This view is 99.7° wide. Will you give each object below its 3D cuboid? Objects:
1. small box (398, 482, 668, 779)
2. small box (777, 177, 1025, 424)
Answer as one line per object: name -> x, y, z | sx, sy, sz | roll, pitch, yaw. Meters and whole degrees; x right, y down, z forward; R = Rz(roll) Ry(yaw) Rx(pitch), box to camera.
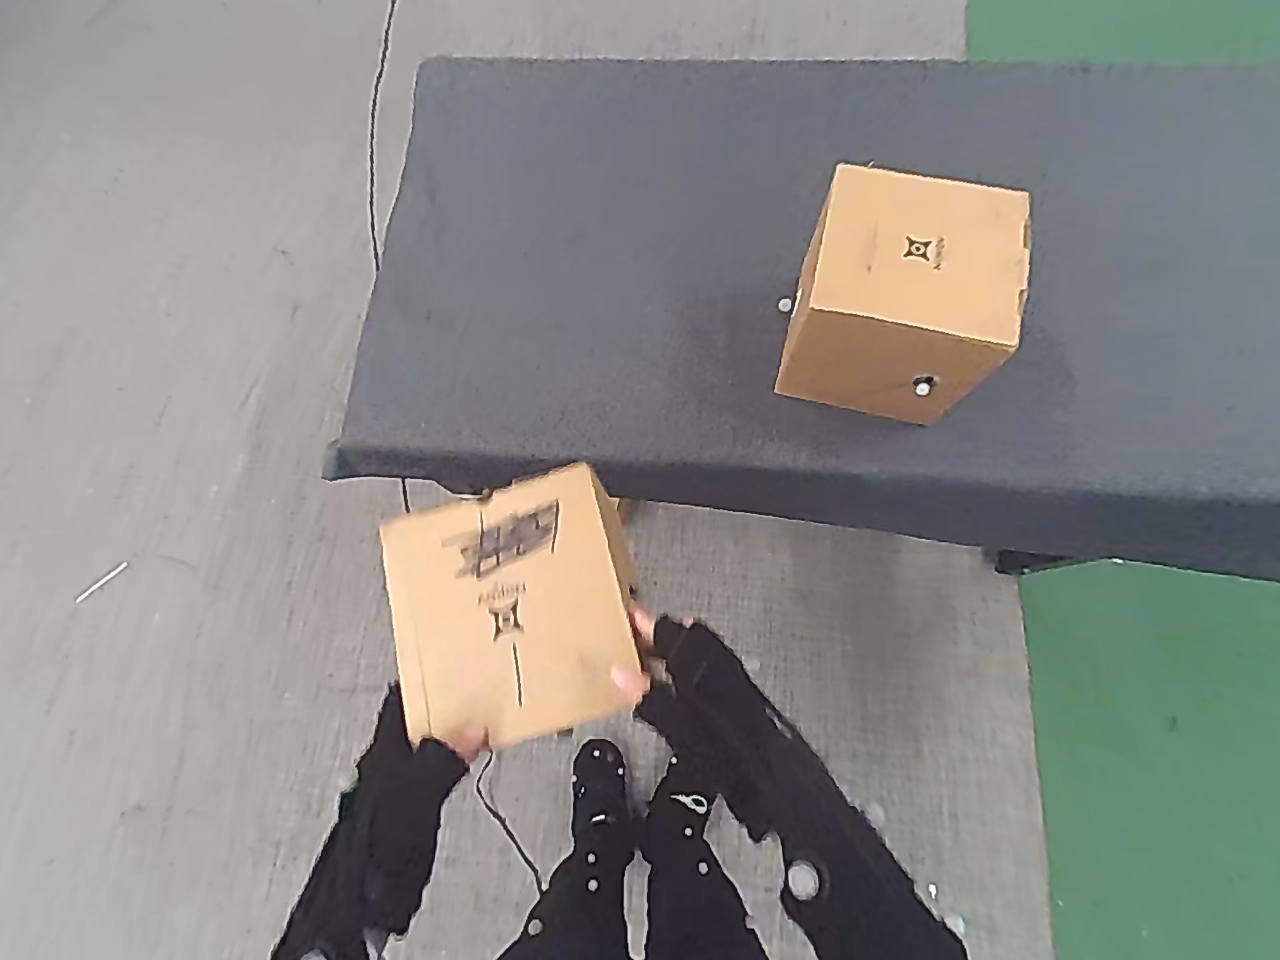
small box -> -0.079, 0.126, 0.463 | 0.168, 0.176, 0.179 | -17, 71, 1
small box -> 0.256, -0.173, 0.563 | 0.179, 0.176, 0.168 | 12, 72, 8
